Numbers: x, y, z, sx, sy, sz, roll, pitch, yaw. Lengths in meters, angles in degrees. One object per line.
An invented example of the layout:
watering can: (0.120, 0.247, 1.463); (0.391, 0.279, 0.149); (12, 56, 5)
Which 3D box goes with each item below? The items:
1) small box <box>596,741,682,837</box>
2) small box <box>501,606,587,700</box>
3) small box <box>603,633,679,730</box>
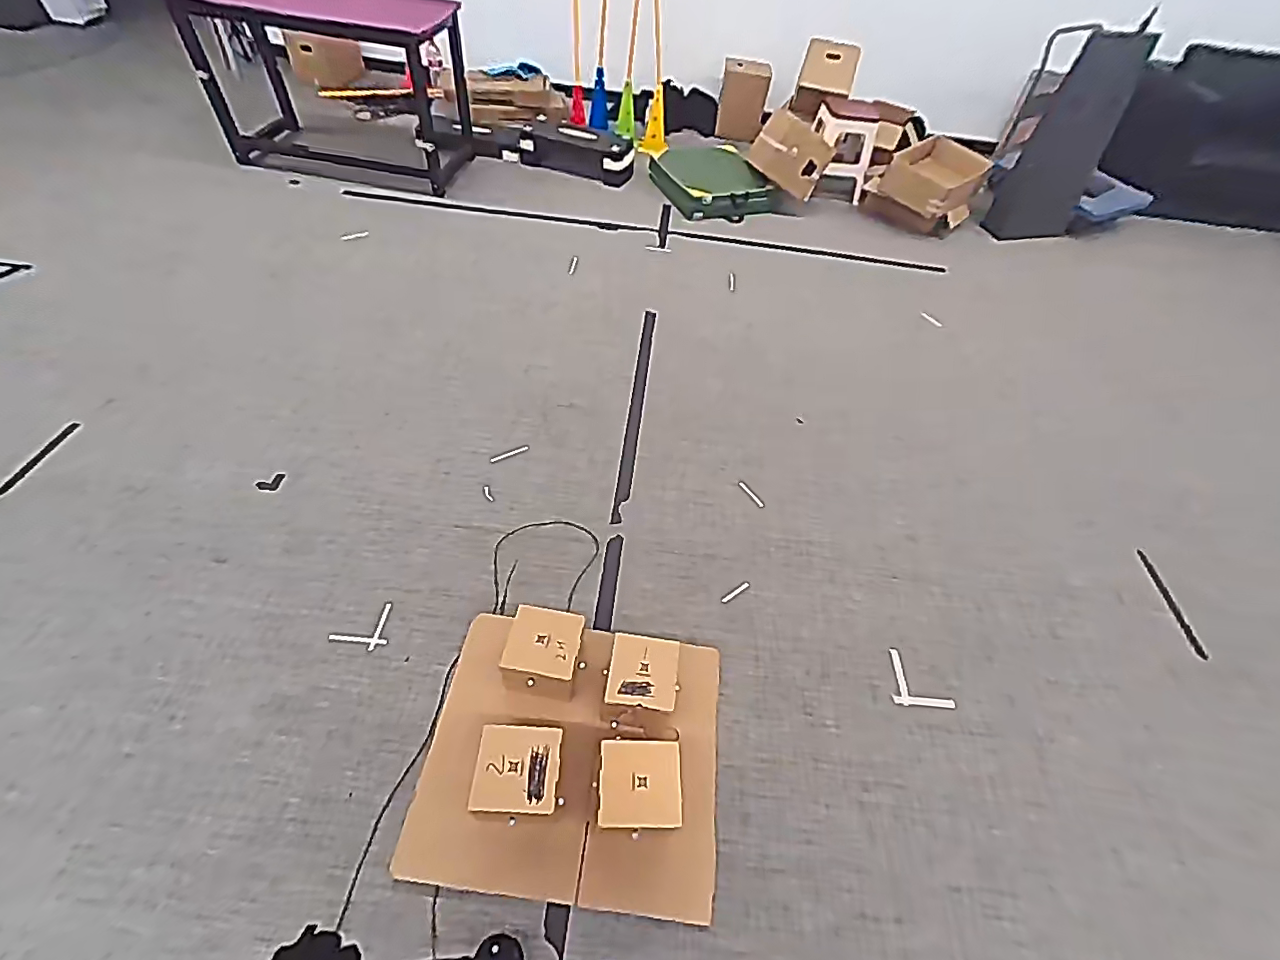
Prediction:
small box: (-0.006, 0.698, 1.218); (0.179, 0.176, 0.168); (2, 51, -3)
small box: (-0.240, 0.447, 1.386); (0.179, 0.176, 0.168); (11, 51, 2)
small box: (0.002, 0.514, 1.367); (0.168, 0.176, 0.179); (9, 50, 1)
